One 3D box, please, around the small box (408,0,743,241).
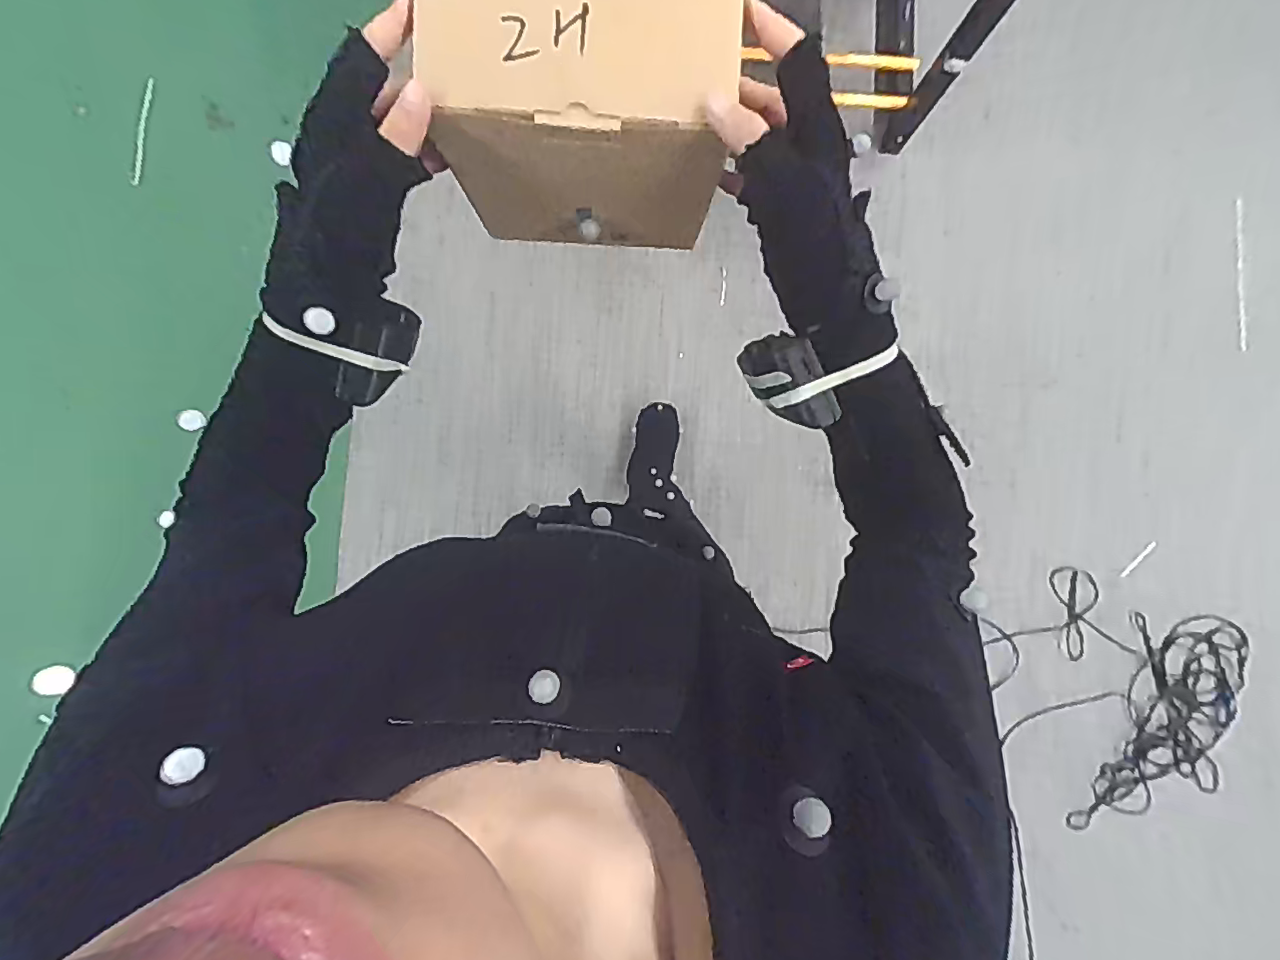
[{"bbox_3d":[-0.031,-0.280,0.347,0.168,0.176,0.179,3,91,-2],"label":"small box"}]
